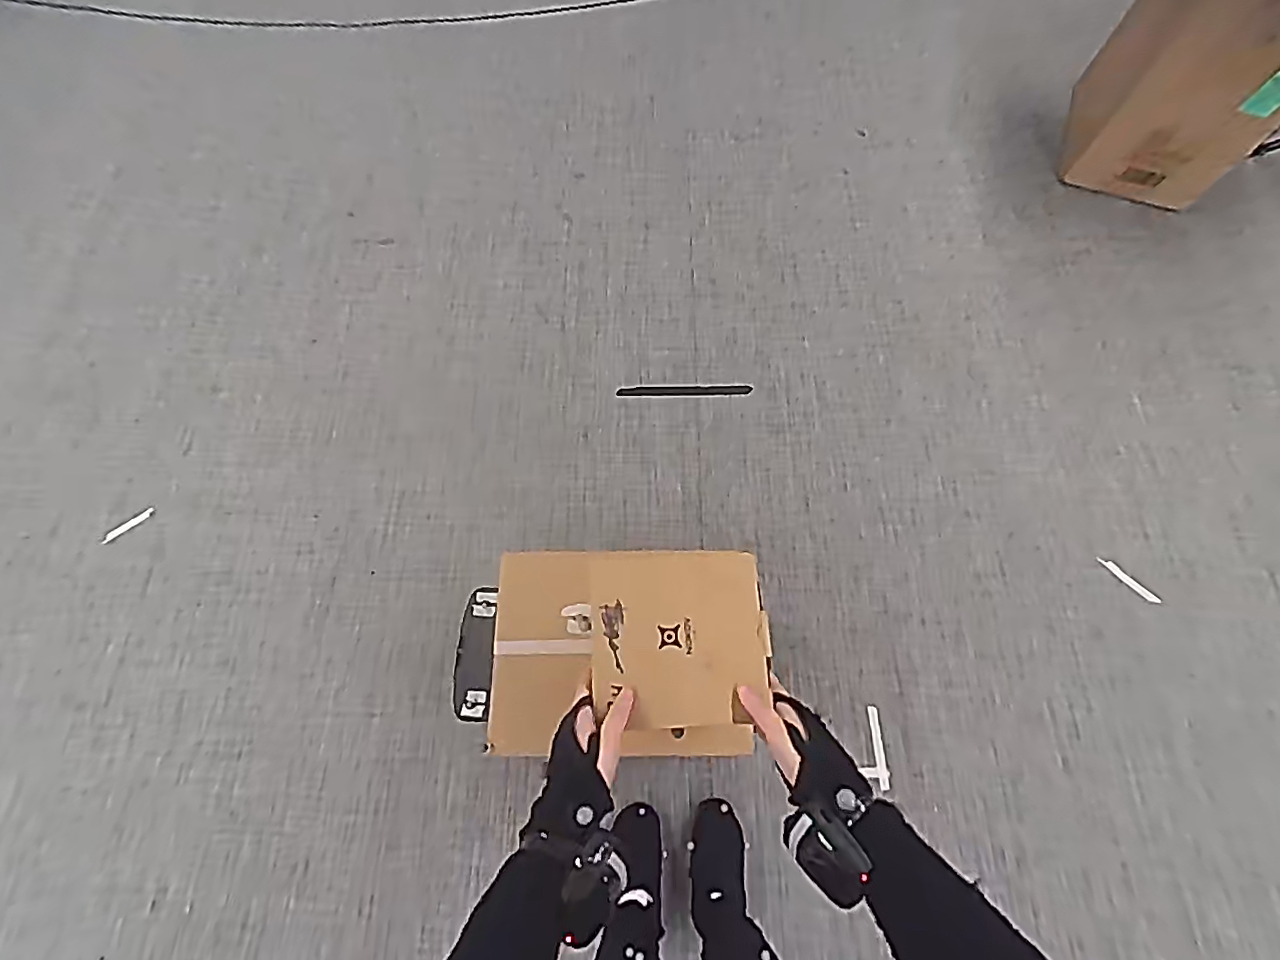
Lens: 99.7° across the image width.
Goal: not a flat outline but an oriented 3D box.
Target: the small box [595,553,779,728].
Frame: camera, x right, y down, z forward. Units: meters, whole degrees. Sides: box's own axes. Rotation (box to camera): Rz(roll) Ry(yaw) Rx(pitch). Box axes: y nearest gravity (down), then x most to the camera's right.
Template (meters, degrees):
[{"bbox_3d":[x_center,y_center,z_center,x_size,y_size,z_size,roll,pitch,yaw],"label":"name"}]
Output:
[{"bbox_3d":[0.041,0.181,0.606,0.179,0.176,0.168,-2,68,-1],"label":"small box"}]

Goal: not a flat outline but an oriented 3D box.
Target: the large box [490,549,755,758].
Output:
[{"bbox_3d":[-0.024,0.316,0.993,0.408,0.320,0.320,-1,69,2],"label":"large box"}]
